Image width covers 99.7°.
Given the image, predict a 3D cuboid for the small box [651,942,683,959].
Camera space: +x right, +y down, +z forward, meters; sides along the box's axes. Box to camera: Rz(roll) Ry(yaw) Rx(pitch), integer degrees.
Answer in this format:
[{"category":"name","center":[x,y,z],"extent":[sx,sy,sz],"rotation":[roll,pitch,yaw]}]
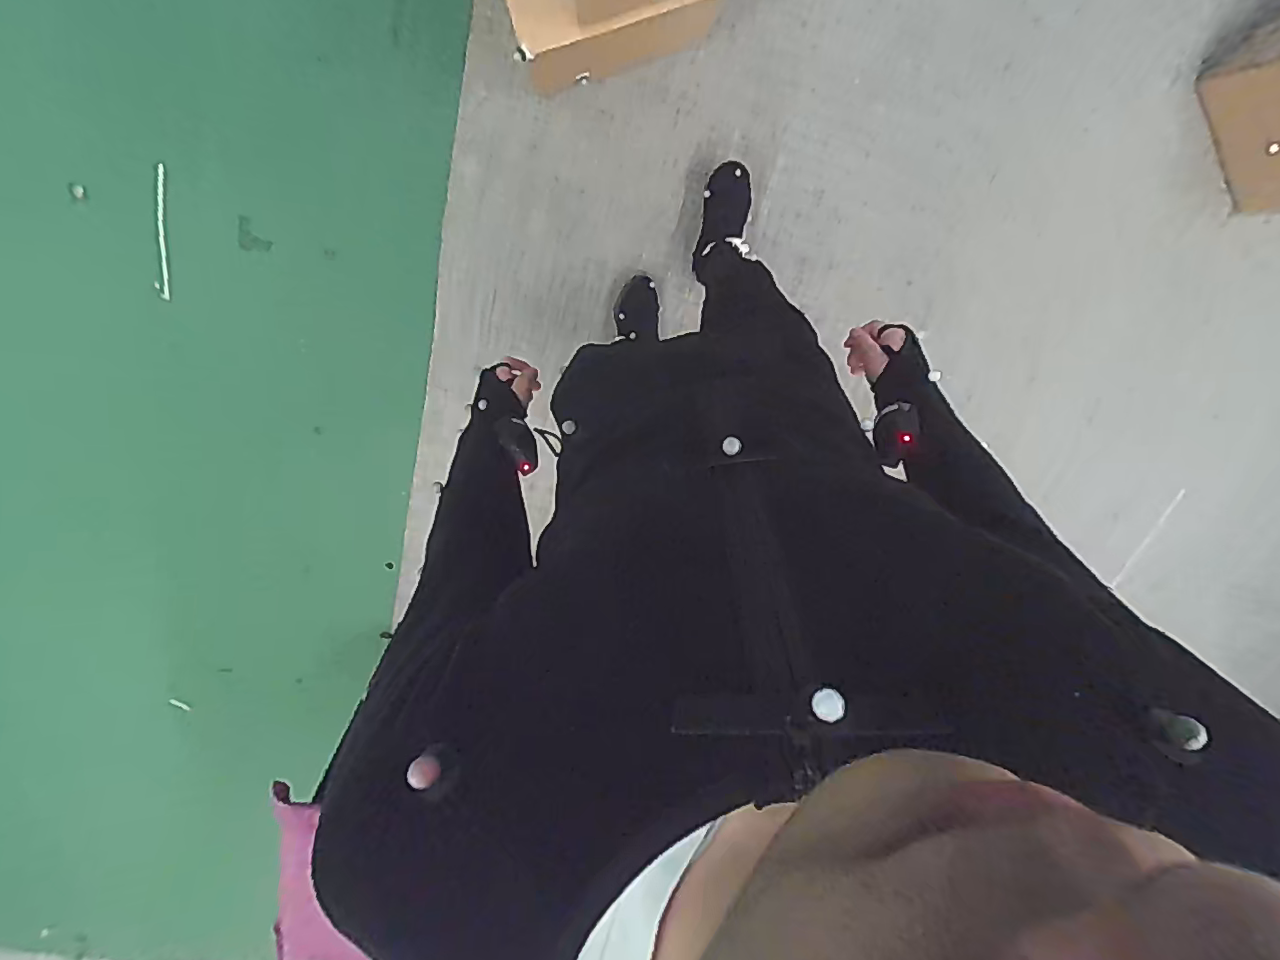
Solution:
[{"category":"small box","center":[0.122,1.378,1.444],"extent":[0.179,0.176,0.168],"rotation":[13,112,-9]}]

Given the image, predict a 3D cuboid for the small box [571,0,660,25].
[{"category":"small box","center":[-0.041,-0.867,0.855],"extent":[0.179,0.176,0.168],"rotation":[-15,115,3]}]

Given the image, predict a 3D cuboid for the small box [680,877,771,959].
[{"category":"small box","center":[0.202,1.122,1.331],"extent":[0.168,0.176,0.179],"rotation":[11,115,-10]}]

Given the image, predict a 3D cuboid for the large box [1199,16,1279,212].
[{"category":"large box","center":[1.644,-0.895,1.246],"extent":[0.320,0.320,0.408],"rotation":[-41,110,13]}]
